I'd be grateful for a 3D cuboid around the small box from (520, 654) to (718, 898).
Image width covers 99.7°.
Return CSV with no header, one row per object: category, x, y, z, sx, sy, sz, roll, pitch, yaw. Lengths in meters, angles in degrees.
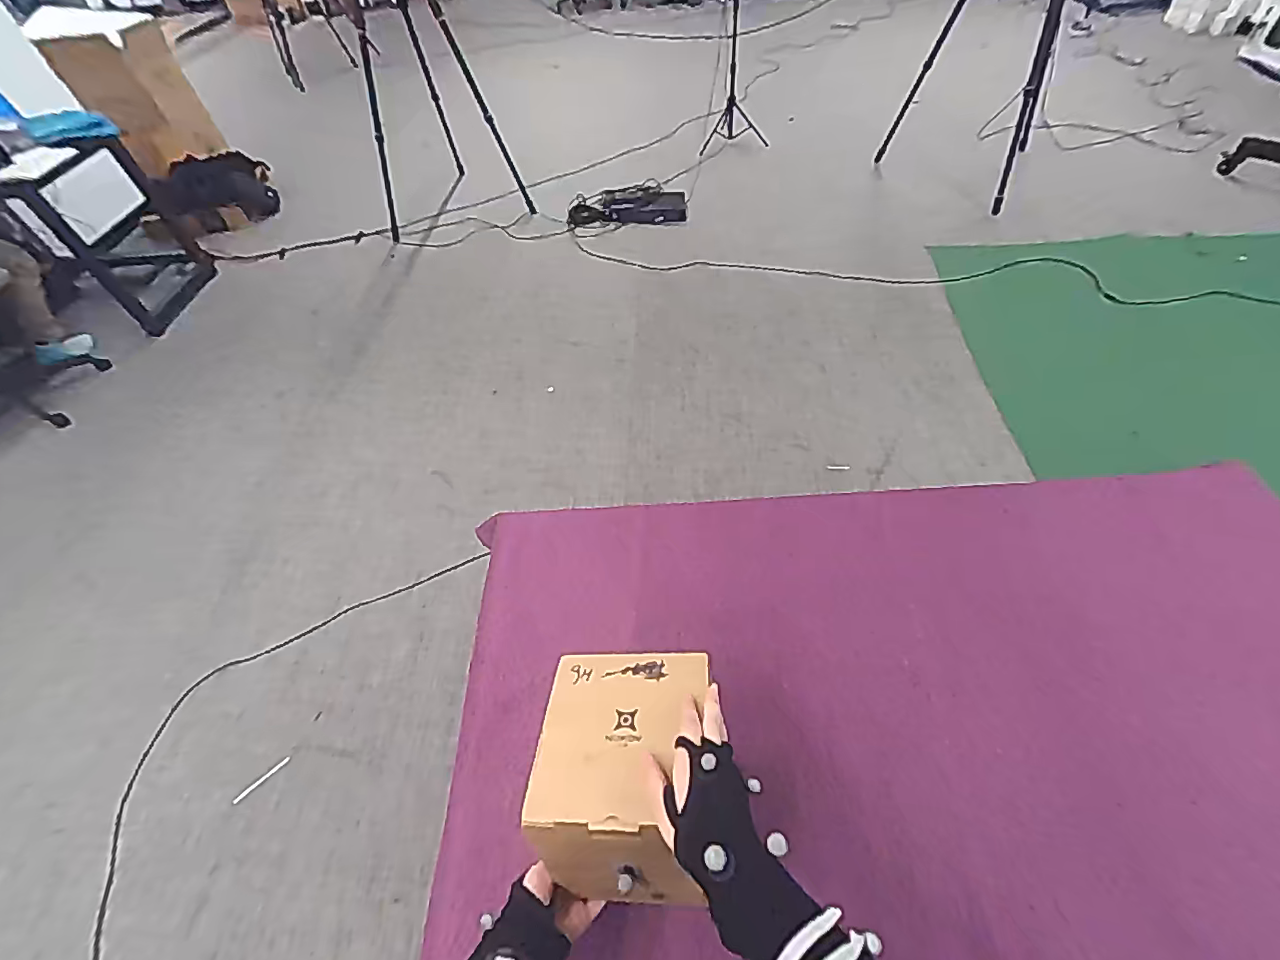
small box,-0.005,0.307,0.568,0.168,0.176,0.179,-2,36,9
